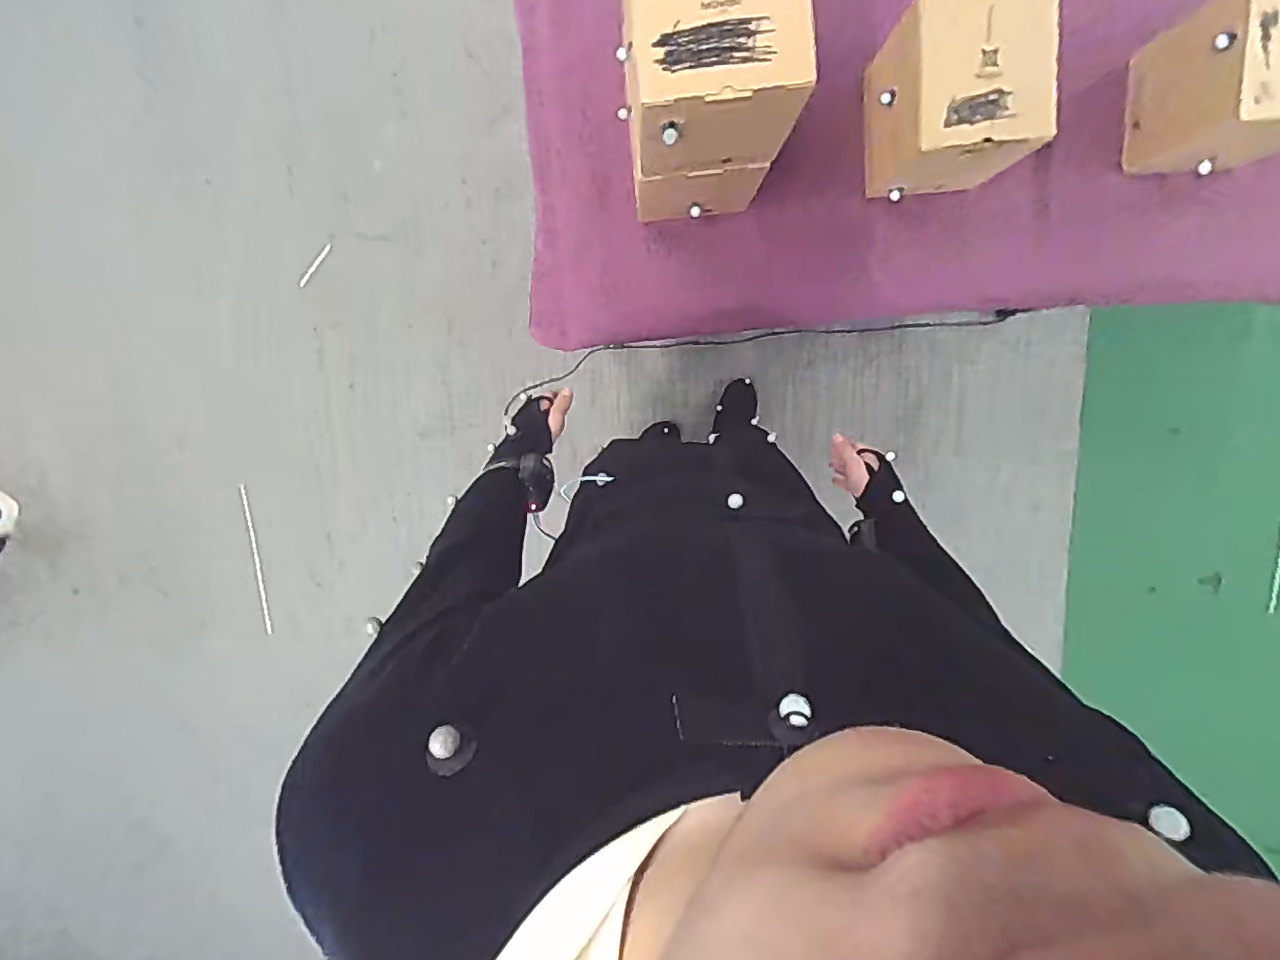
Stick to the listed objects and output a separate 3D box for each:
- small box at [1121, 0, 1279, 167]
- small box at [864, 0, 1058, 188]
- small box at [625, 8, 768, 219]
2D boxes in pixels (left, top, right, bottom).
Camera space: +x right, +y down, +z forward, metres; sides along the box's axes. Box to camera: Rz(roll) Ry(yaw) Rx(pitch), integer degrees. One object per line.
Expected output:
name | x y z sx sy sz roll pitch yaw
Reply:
small box | 0.804 -0.539 0.716 0.179 0.176 0.168 -3 99 1
small box | 0.414 -0.511 0.724 0.168 0.176 0.179 -5 98 1
small box | 0.069 -0.478 0.731 0.168 0.176 0.179 -6 99 1
